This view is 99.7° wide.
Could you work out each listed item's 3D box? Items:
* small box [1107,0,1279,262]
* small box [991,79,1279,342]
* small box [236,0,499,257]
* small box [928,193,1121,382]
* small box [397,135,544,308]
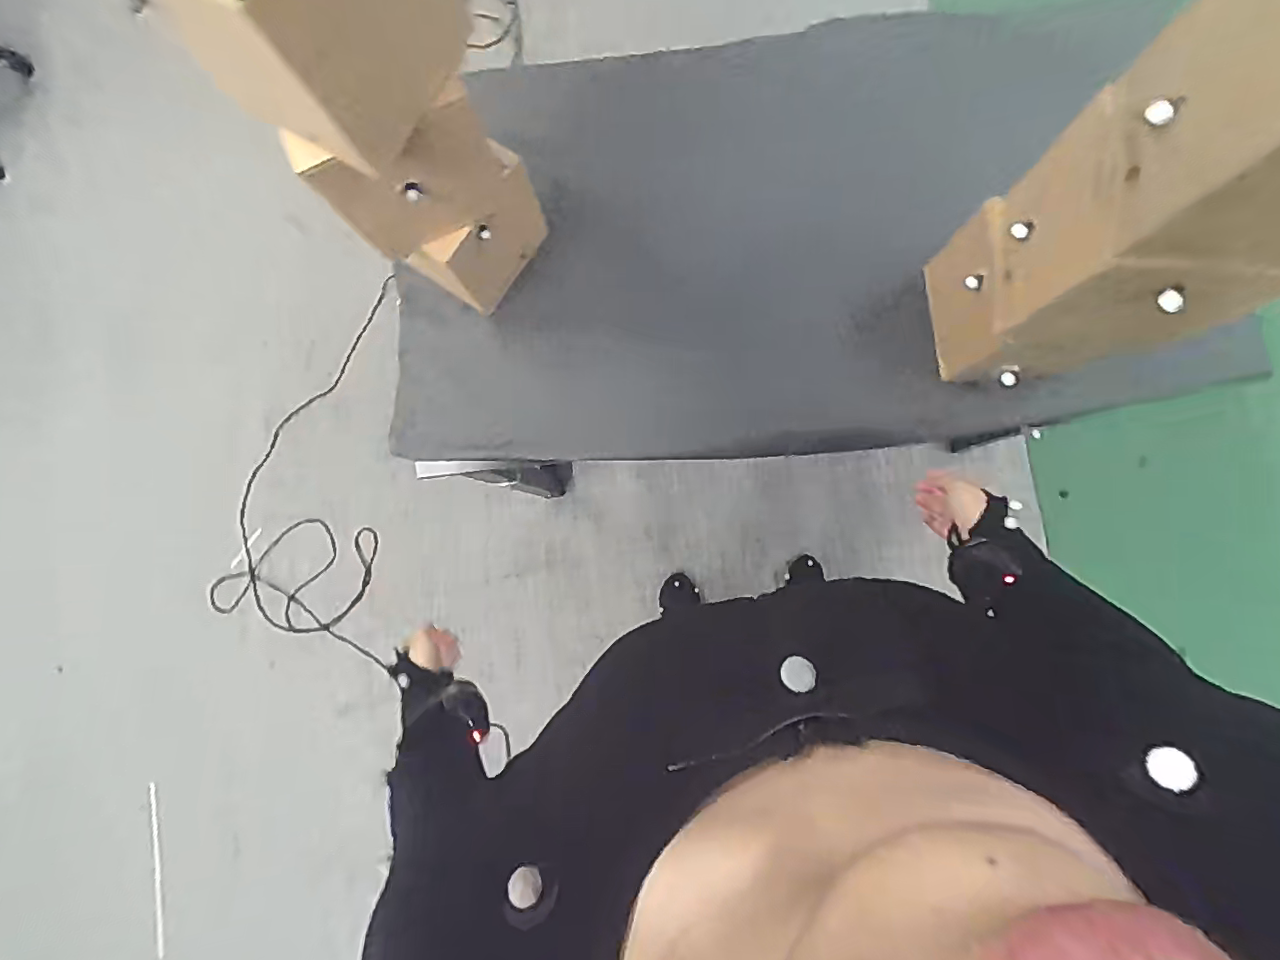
[{"bbox_3d":[0.470,-0.264,0.360,0.179,0.176,0.168,7,83,6],"label":"small box"},{"bbox_3d":[0.480,-0.243,0.523,0.179,0.176,0.168,5,84,6],"label":"small box"},{"bbox_3d":[-0.272,-0.382,0.587,0.179,0.176,0.168,-25,84,1],"label":"small box"},{"bbox_3d":[0.491,-0.239,0.686,0.168,0.176,0.179,-6,83,5],"label":"small box"},{"bbox_3d":[-0.262,-0.370,0.751,0.179,0.176,0.168,34,87,6],"label":"small box"}]
